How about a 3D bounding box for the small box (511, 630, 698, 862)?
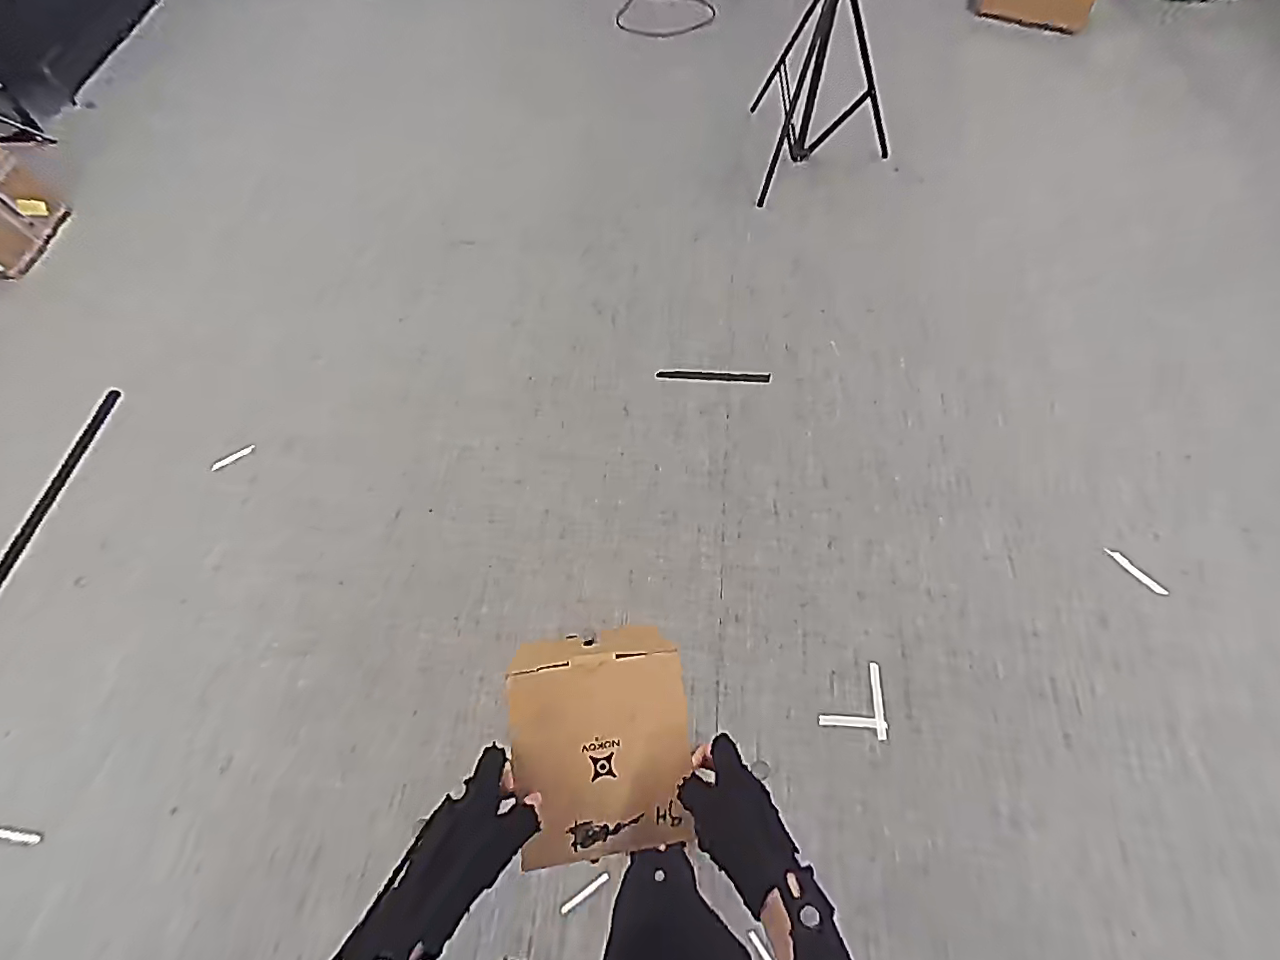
[{"bbox_3d":[-0.045,0.263,0.584,0.168,0.176,0.179,-5,82,-8],"label":"small box"}]
